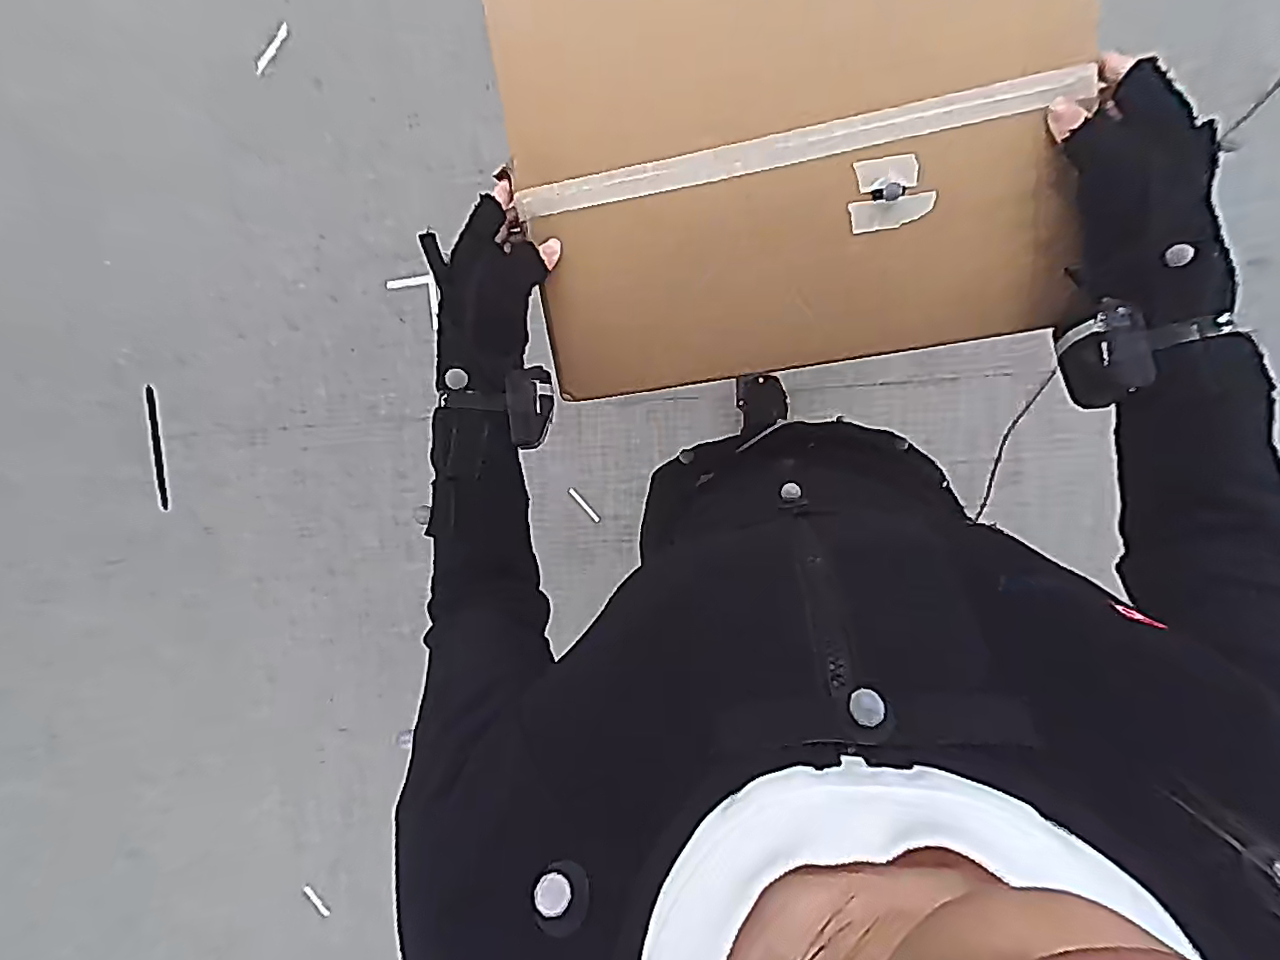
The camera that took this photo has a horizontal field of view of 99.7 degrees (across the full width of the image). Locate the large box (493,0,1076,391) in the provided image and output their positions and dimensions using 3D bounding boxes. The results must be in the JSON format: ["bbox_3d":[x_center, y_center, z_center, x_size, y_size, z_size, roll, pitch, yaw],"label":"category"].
[{"bbox_3d":[0.122,-0.287,0.550,0.408,0.320,0.320,-8,104,8],"label":"large box"}]
